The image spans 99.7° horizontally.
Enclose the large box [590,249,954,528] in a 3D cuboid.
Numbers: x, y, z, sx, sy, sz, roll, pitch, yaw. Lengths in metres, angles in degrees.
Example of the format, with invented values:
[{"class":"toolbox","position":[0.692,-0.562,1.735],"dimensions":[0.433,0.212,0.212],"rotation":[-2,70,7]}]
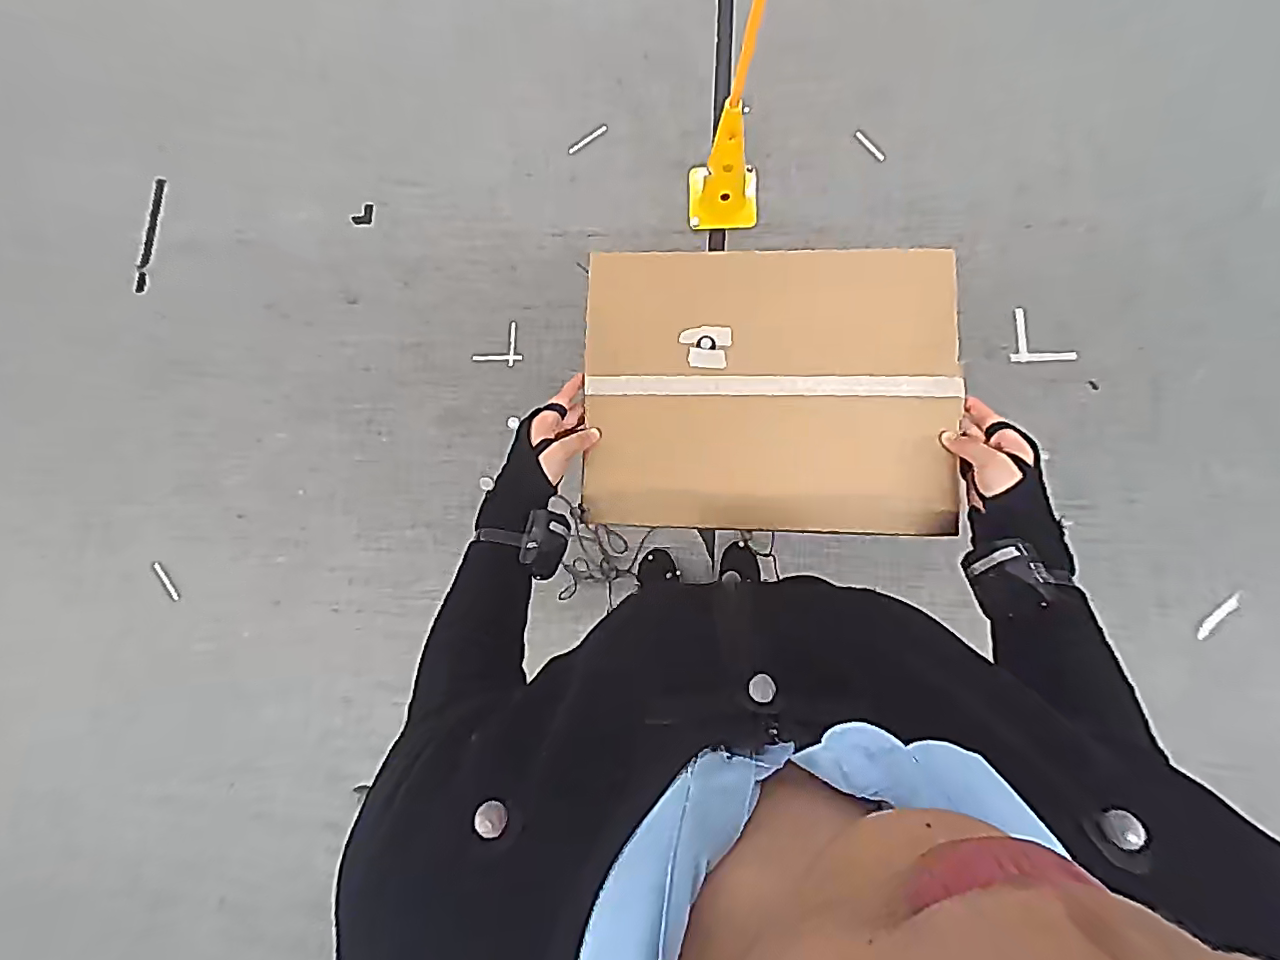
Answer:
[{"class":"large box","position":[0.157,-0.093,0.757],"dimensions":[0.408,0.320,0.320],"rotation":[0,85,6]}]
